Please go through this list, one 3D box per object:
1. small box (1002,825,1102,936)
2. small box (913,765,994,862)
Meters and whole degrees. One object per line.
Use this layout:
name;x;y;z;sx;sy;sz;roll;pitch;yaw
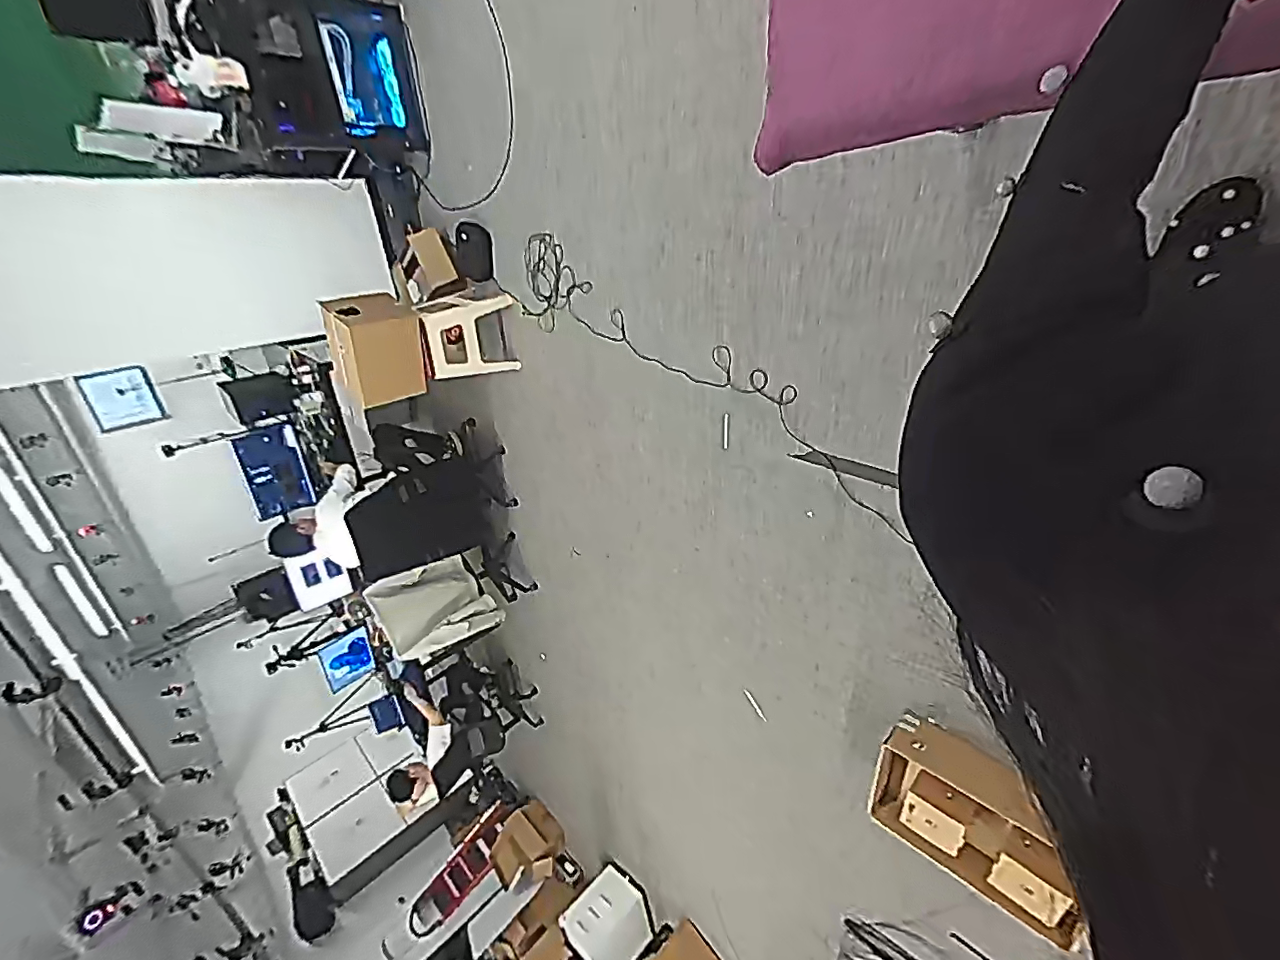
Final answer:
small box;1.209;1.159;1.586;0.179;0.176;0.168;25;129;40
small box;1.021;1.072;1.756;0.179;0.176;0.168;21;125;39
